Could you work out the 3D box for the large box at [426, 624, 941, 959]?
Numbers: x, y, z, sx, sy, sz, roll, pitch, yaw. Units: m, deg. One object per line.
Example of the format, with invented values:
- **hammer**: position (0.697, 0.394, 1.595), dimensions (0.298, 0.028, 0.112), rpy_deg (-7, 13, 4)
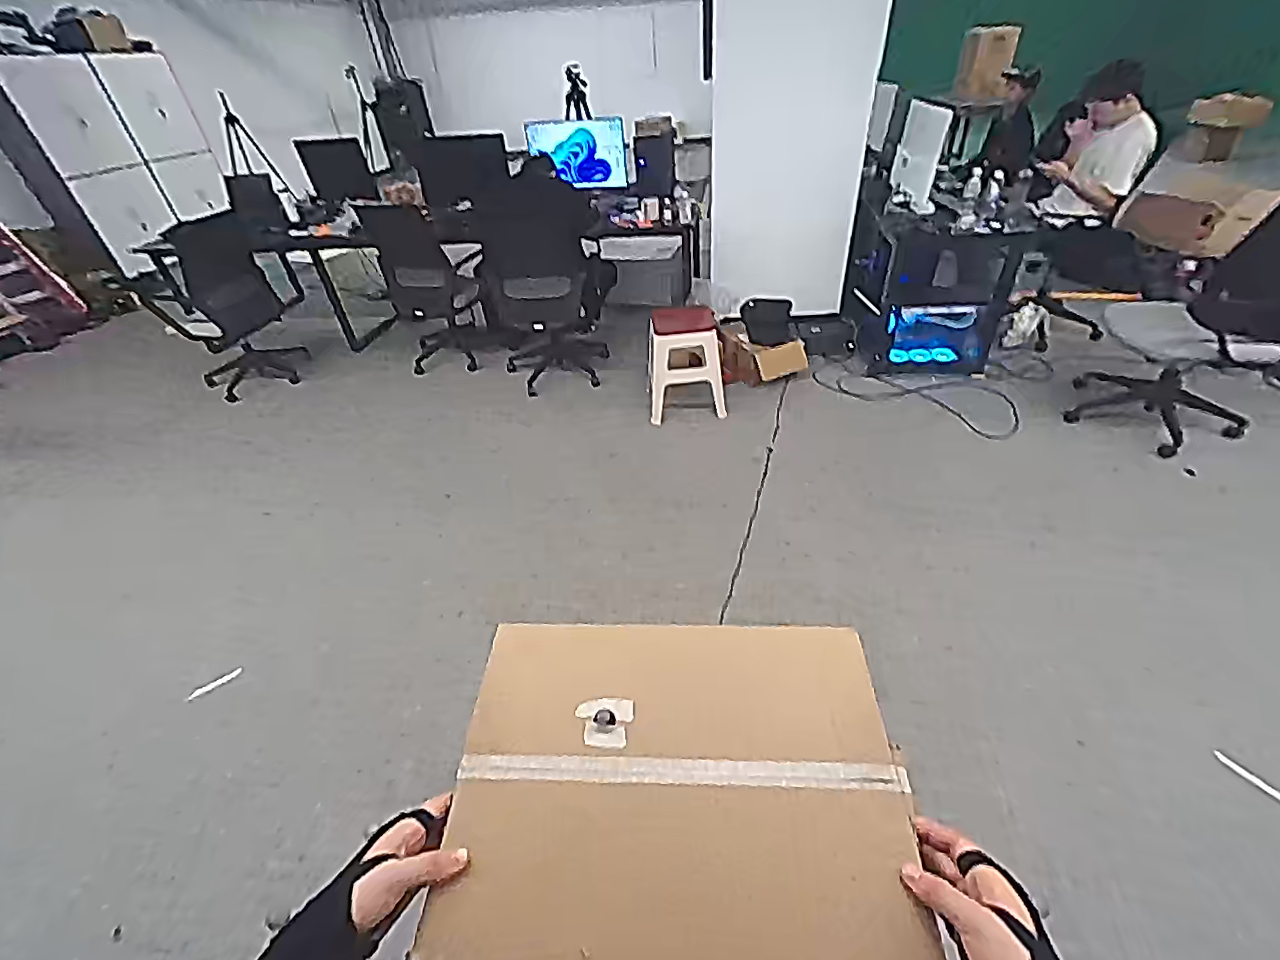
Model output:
- **large box**: position (0.046, 0.385, 0.615), dimensions (0.408, 0.320, 0.320), rpy_deg (-2, 42, 5)
